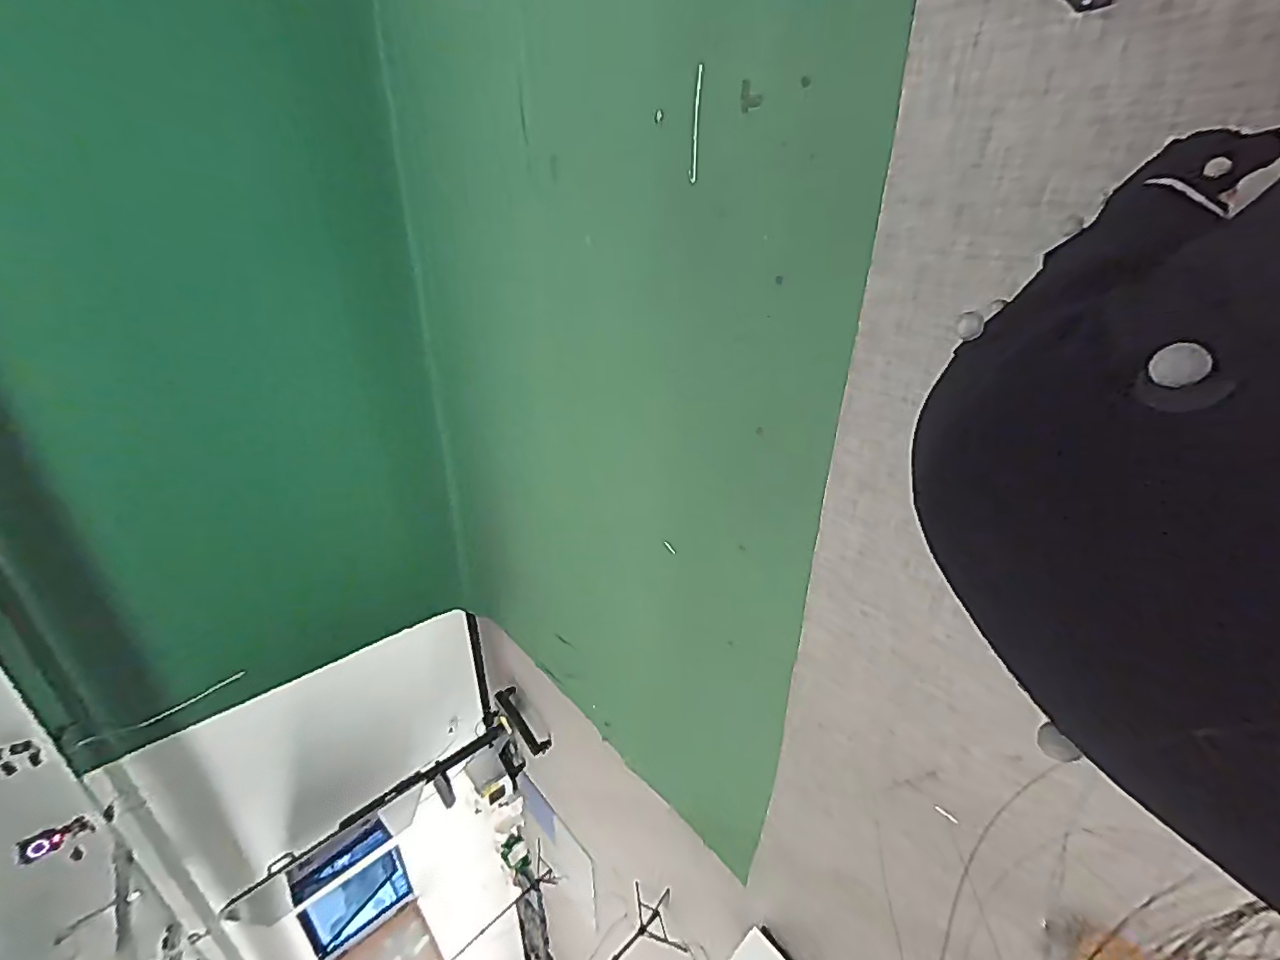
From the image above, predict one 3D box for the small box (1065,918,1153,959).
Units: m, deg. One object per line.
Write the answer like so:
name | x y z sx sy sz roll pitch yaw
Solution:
small box | 1.252 1.340 1.442 0.168 0.176 0.179 27 126 41
